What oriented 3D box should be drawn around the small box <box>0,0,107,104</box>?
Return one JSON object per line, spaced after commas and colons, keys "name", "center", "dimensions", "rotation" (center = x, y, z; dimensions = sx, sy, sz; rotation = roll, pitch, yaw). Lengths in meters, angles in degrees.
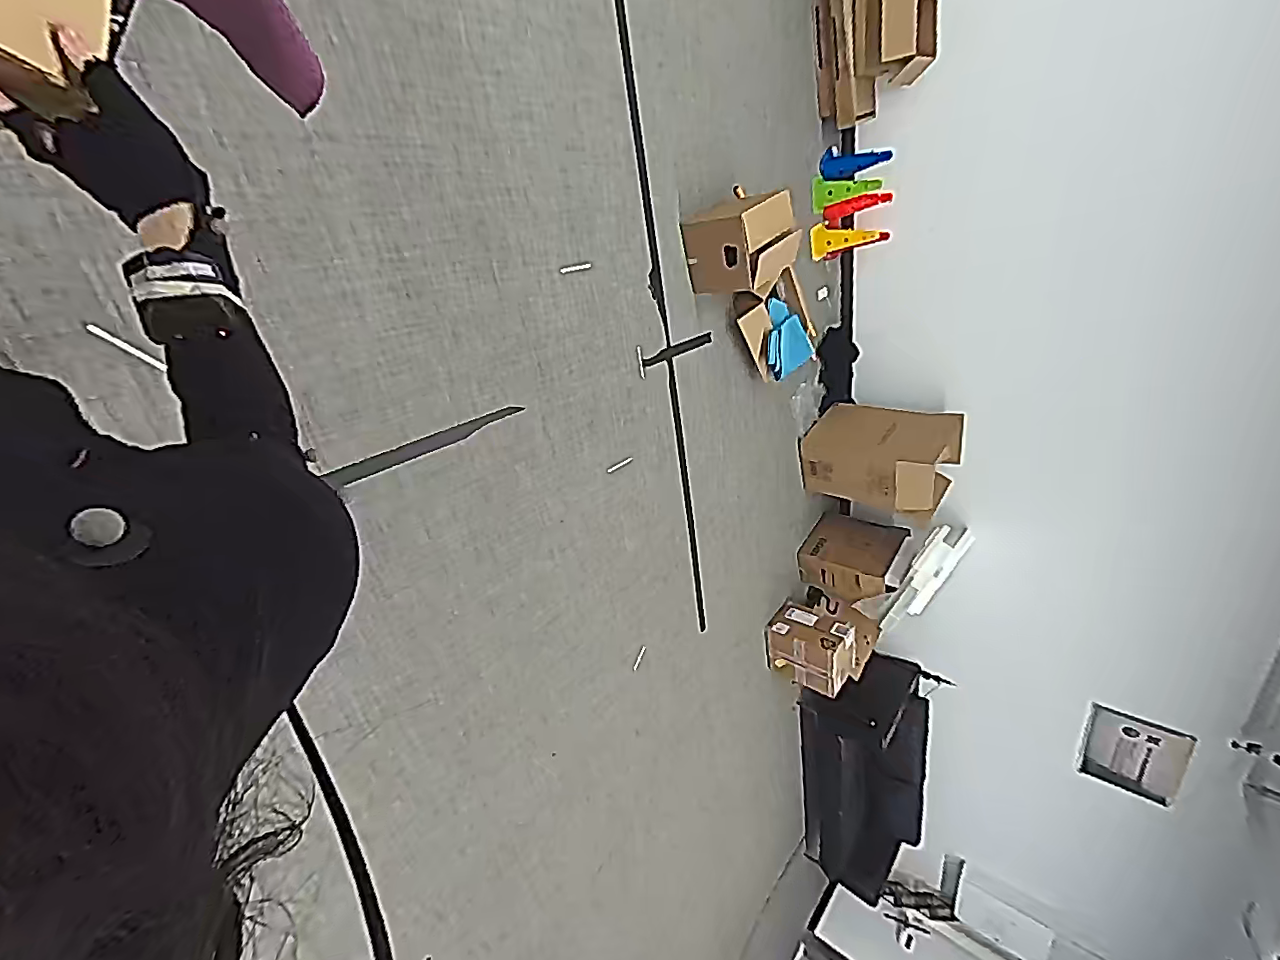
{"name": "small box", "center": [-0.504, -0.384, 0.355], "dimensions": [0.168, 0.176, 0.179], "rotation": [2, 92, -74]}
